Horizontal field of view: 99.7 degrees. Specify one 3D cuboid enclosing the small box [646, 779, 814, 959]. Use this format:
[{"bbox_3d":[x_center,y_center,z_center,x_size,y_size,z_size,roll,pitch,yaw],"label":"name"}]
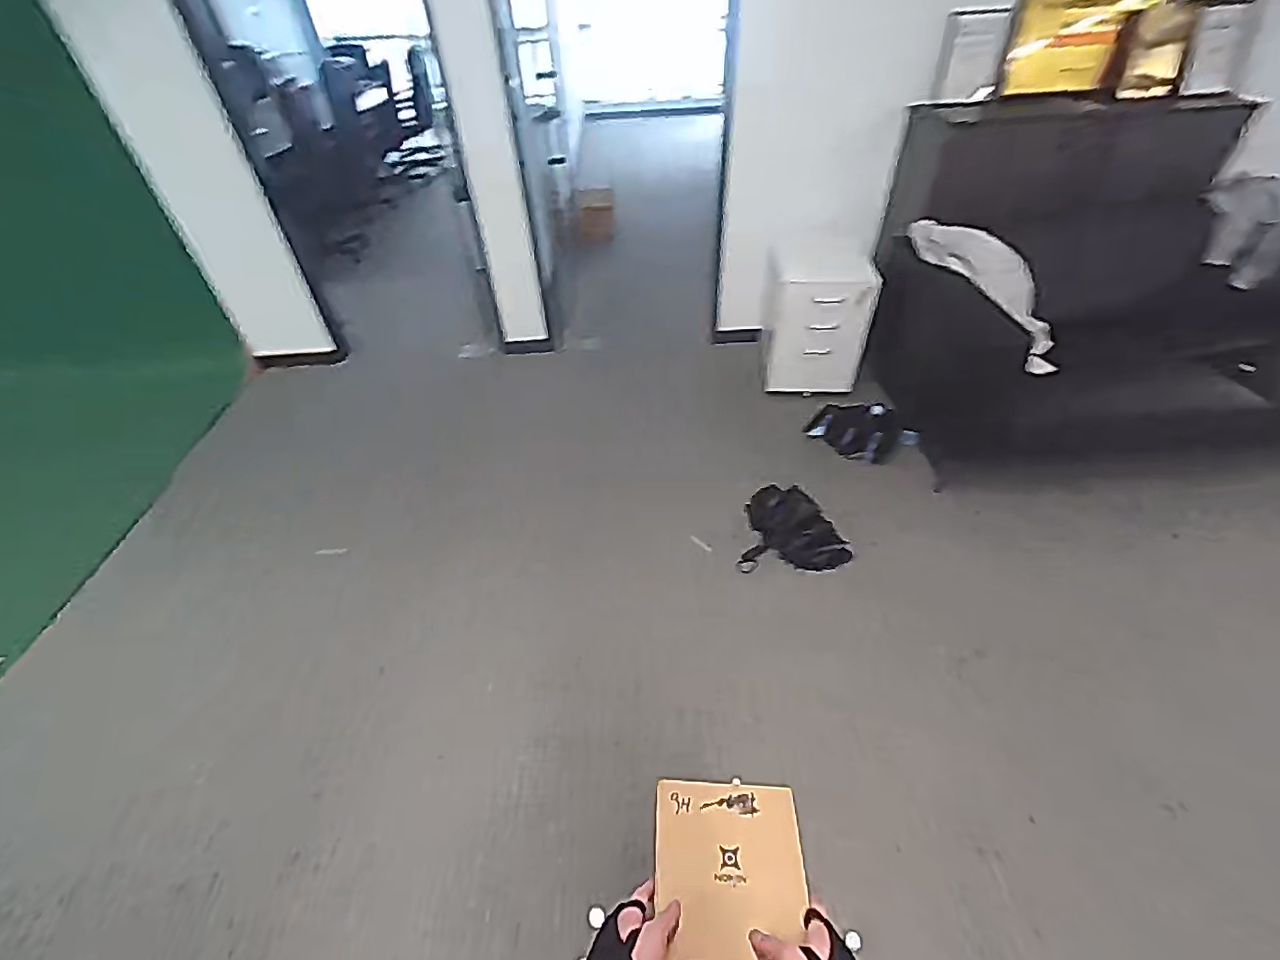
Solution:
[{"bbox_3d":[0.093,0.479,0.638,0.168,0.176,0.179,1,42,1],"label":"small box"}]
